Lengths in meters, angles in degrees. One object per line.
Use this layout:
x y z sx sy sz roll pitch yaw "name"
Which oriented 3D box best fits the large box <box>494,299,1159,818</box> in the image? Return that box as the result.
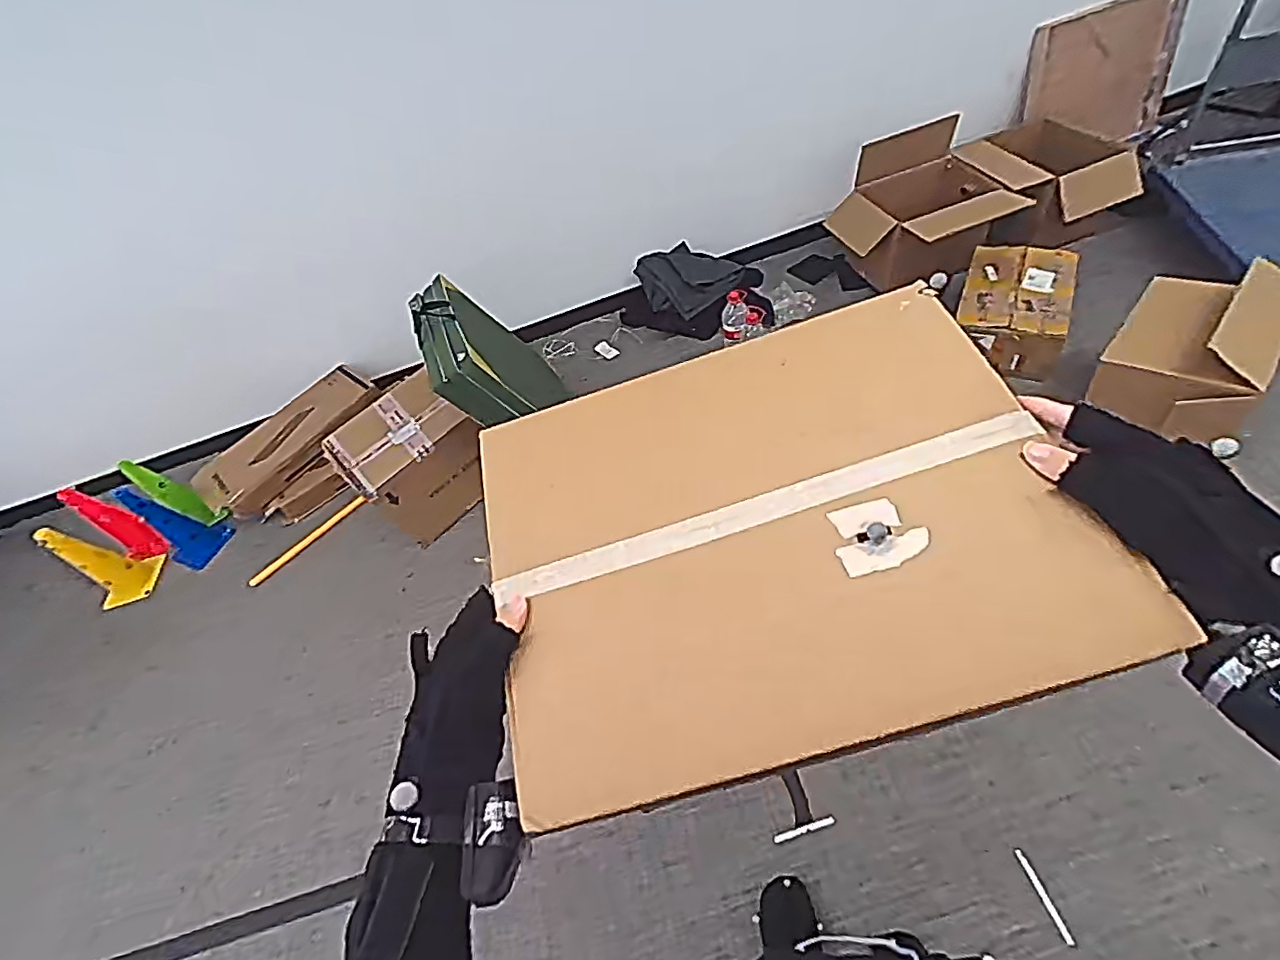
0.118 0.098 0.535 0.408 0.320 0.320 -18 60 3 "large box"
